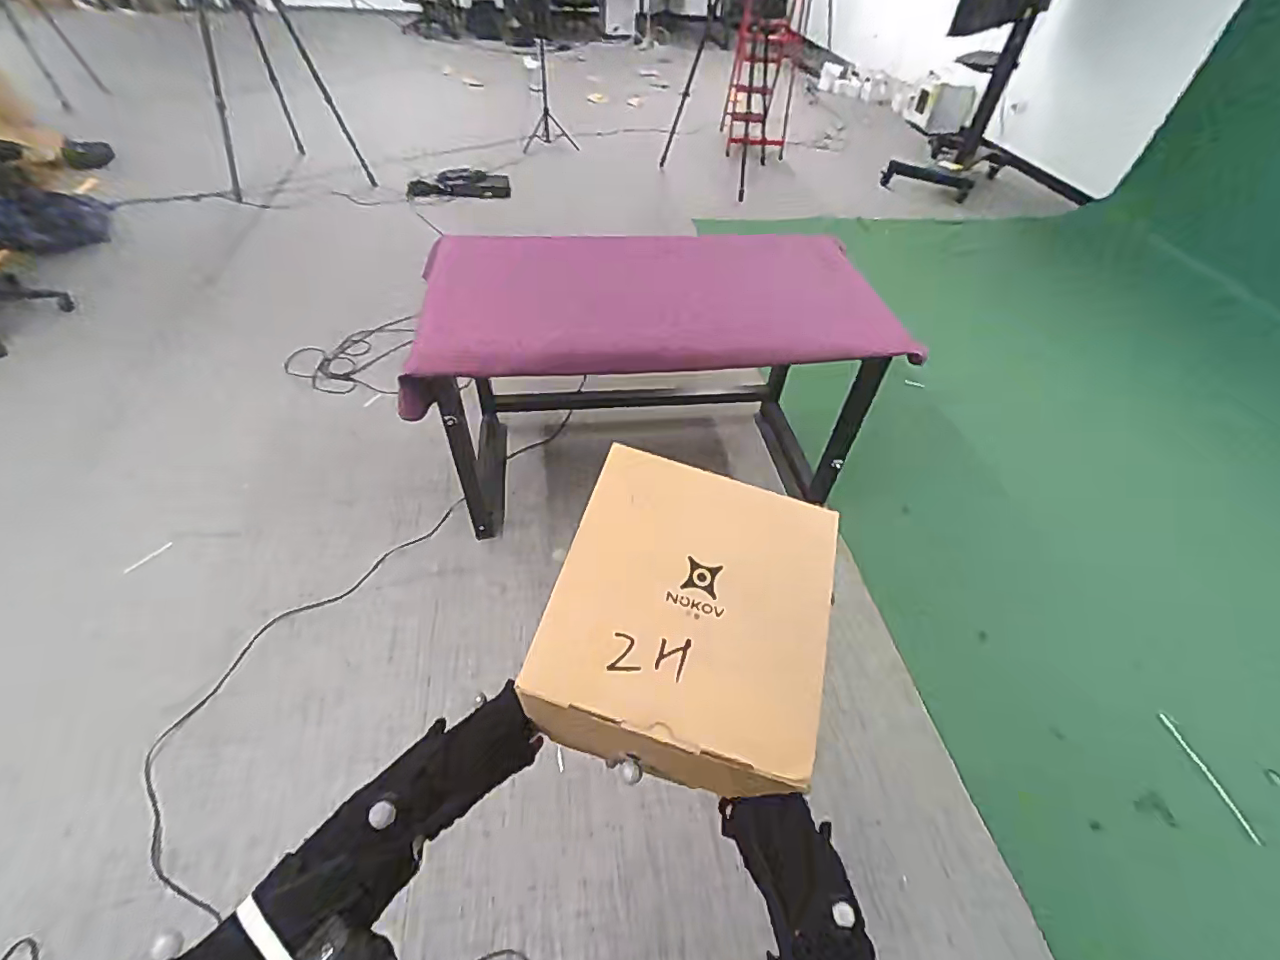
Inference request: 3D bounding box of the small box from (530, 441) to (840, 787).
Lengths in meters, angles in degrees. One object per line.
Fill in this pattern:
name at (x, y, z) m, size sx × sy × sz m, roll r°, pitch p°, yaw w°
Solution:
small box at (0.028, 0.106, 0.402) m, size 0.168 × 0.176 × 0.179 m, roll 18°, pitch 58°, yaw 3°
